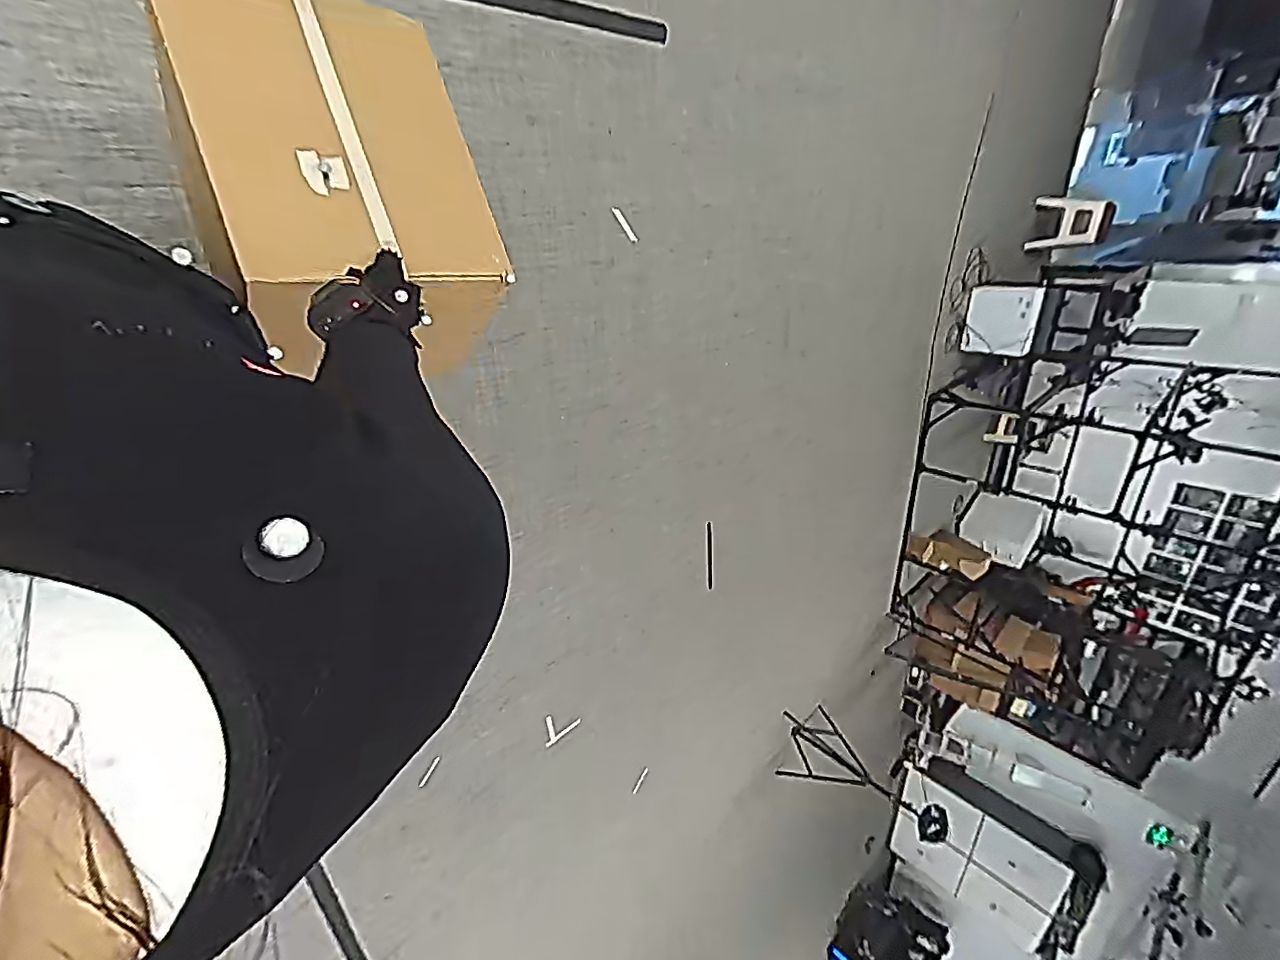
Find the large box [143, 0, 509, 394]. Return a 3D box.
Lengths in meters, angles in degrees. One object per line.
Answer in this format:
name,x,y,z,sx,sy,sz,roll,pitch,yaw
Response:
large box,-0.451,-0.385,0.795,0.320,0.320,0.408,-18,87,-36
